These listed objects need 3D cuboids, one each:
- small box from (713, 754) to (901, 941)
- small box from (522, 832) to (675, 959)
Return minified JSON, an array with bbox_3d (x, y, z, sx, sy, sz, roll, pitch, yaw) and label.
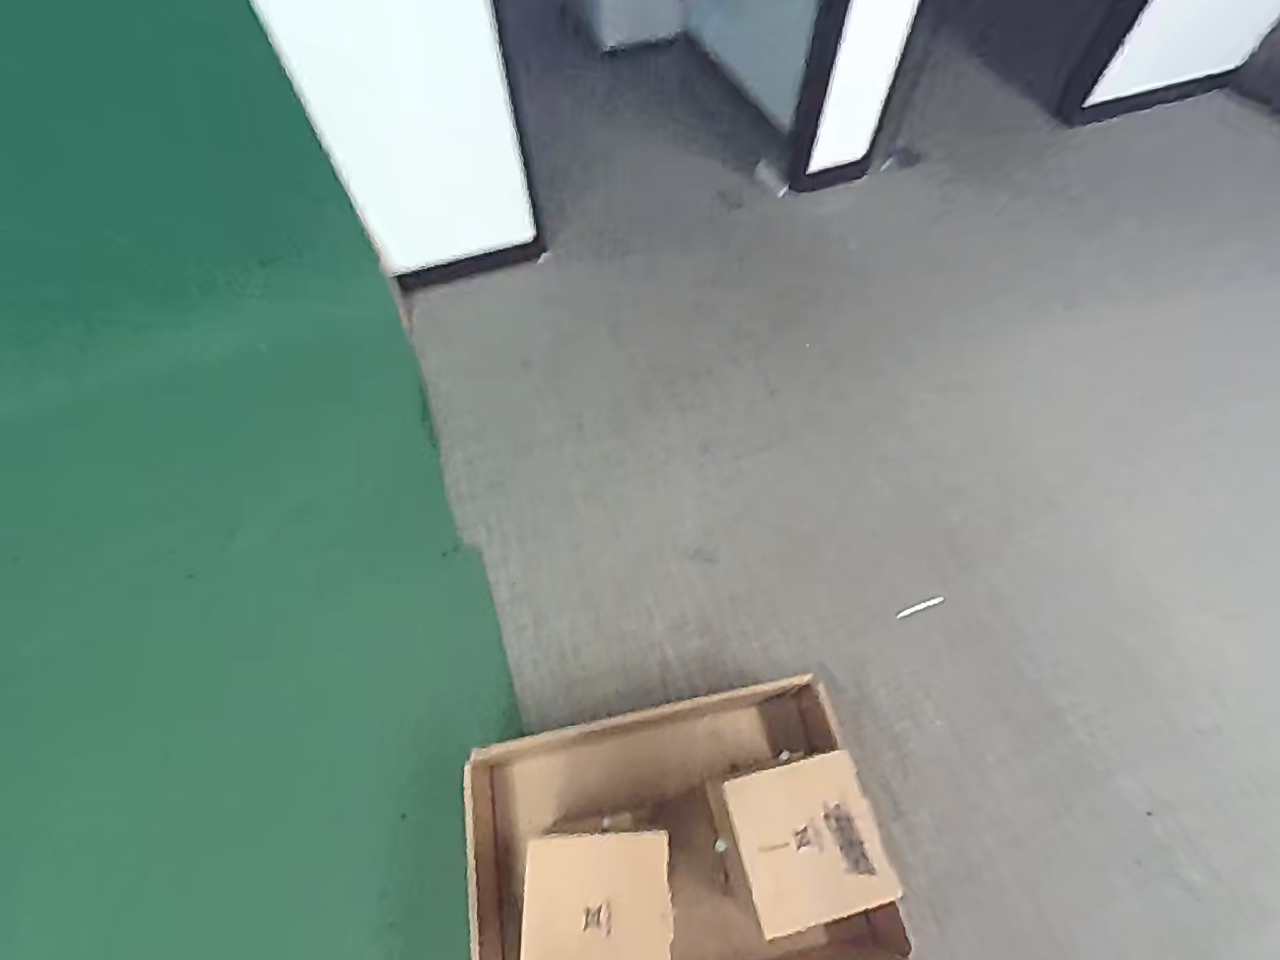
[{"bbox_3d":[0.210,0.483,0.736,0.179,0.176,0.168,-12,61,-5],"label":"small box"},{"bbox_3d":[-0.050,0.557,0.696,0.179,0.176,0.168,-1,60,-3],"label":"small box"}]
